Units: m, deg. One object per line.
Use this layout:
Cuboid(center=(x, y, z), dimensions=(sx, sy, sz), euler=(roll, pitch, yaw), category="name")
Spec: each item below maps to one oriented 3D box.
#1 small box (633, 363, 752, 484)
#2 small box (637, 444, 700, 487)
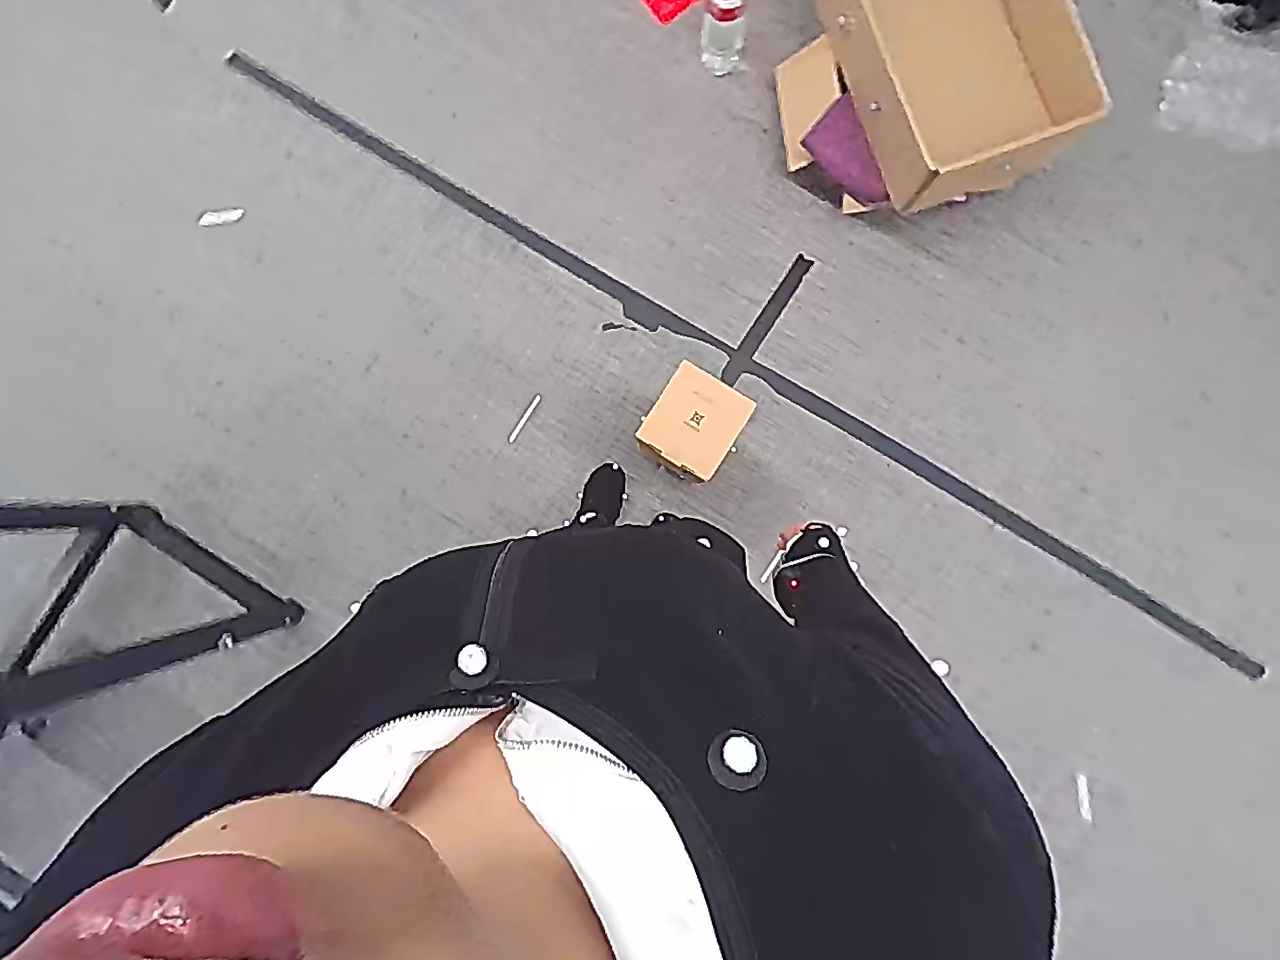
Cuboid(center=(0.103, -0.104, 1.096), dimensions=(0.168, 0.176, 0.179), euler=(32, 89, 2), category="small box")
Cuboid(center=(0.106, -0.098, 1.259), dimensions=(0.168, 0.176, 0.179), euler=(33, 90, 3), category="small box")
